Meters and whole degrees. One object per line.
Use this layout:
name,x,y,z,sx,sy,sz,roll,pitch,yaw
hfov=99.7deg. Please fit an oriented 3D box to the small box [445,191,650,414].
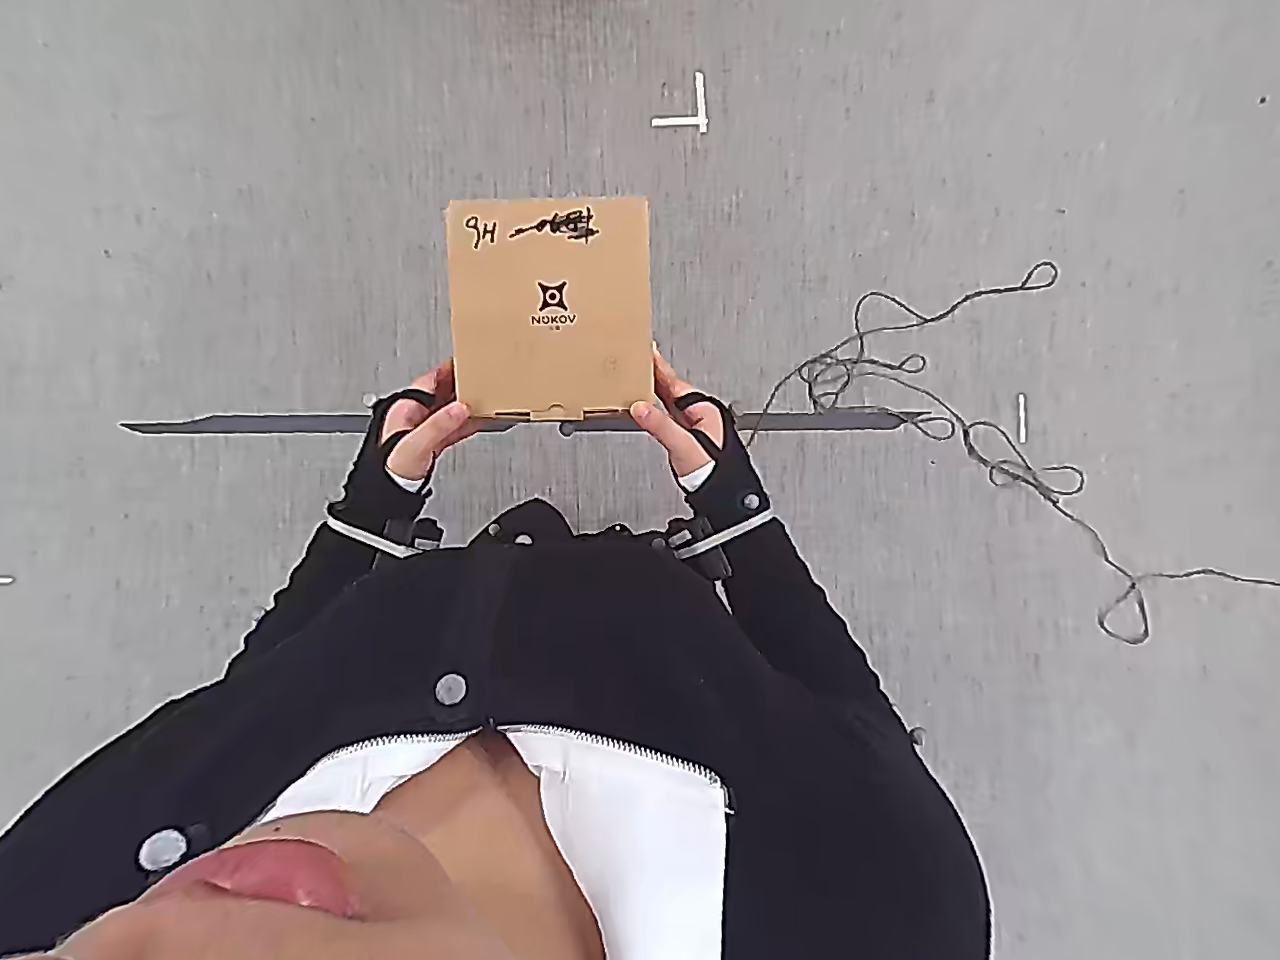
small box,-0.075,-0.154,0.525,0.168,0.176,0.179,-2,95,-1
